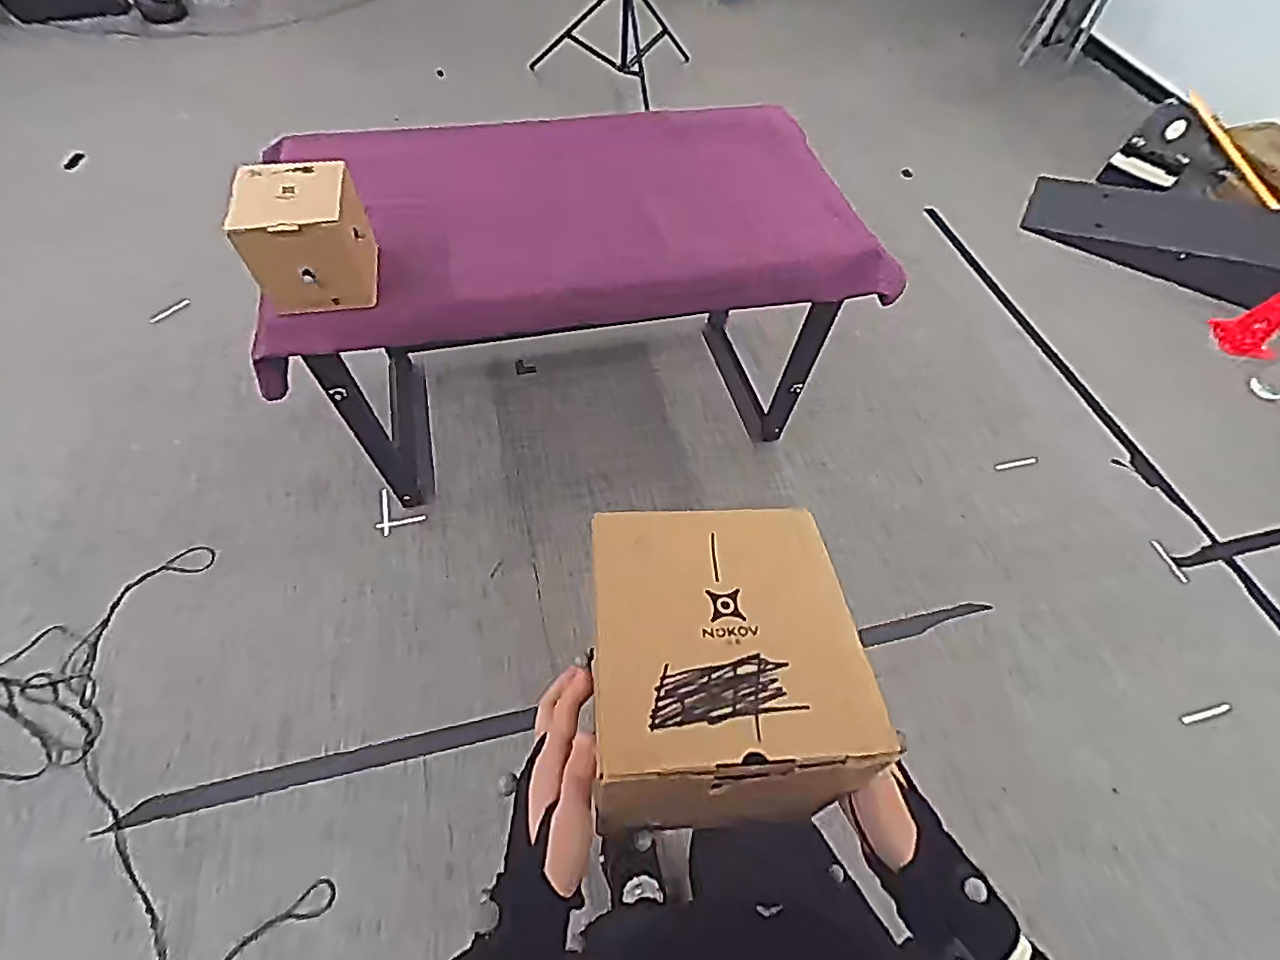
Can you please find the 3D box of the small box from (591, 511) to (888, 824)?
[{"bbox_3d":[0.048,0.143,0.405,0.168,0.176,0.179,0,47,-6],"label":"small box"}]

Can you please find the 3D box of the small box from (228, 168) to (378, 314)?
[{"bbox_3d":[-0.569,-0.406,0.939,0.168,0.176,0.179,-9,61,-10],"label":"small box"}]
